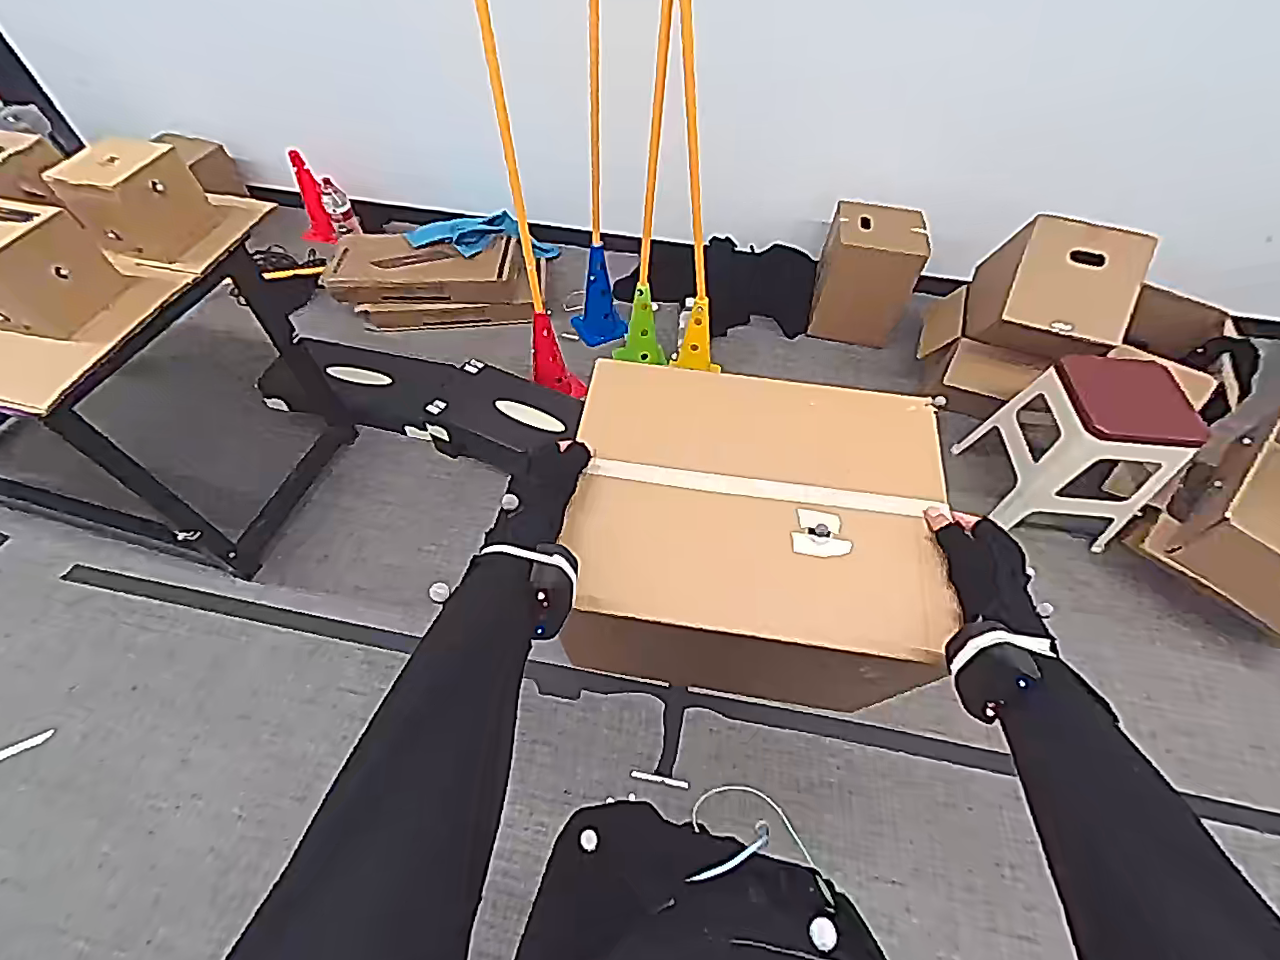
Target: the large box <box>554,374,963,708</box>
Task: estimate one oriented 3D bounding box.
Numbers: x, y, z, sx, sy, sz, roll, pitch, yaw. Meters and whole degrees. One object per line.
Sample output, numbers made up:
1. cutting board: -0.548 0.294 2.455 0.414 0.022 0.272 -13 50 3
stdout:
1. large box: 0.128 0.094 0.722 0.408 0.320 0.320 8 61 4
